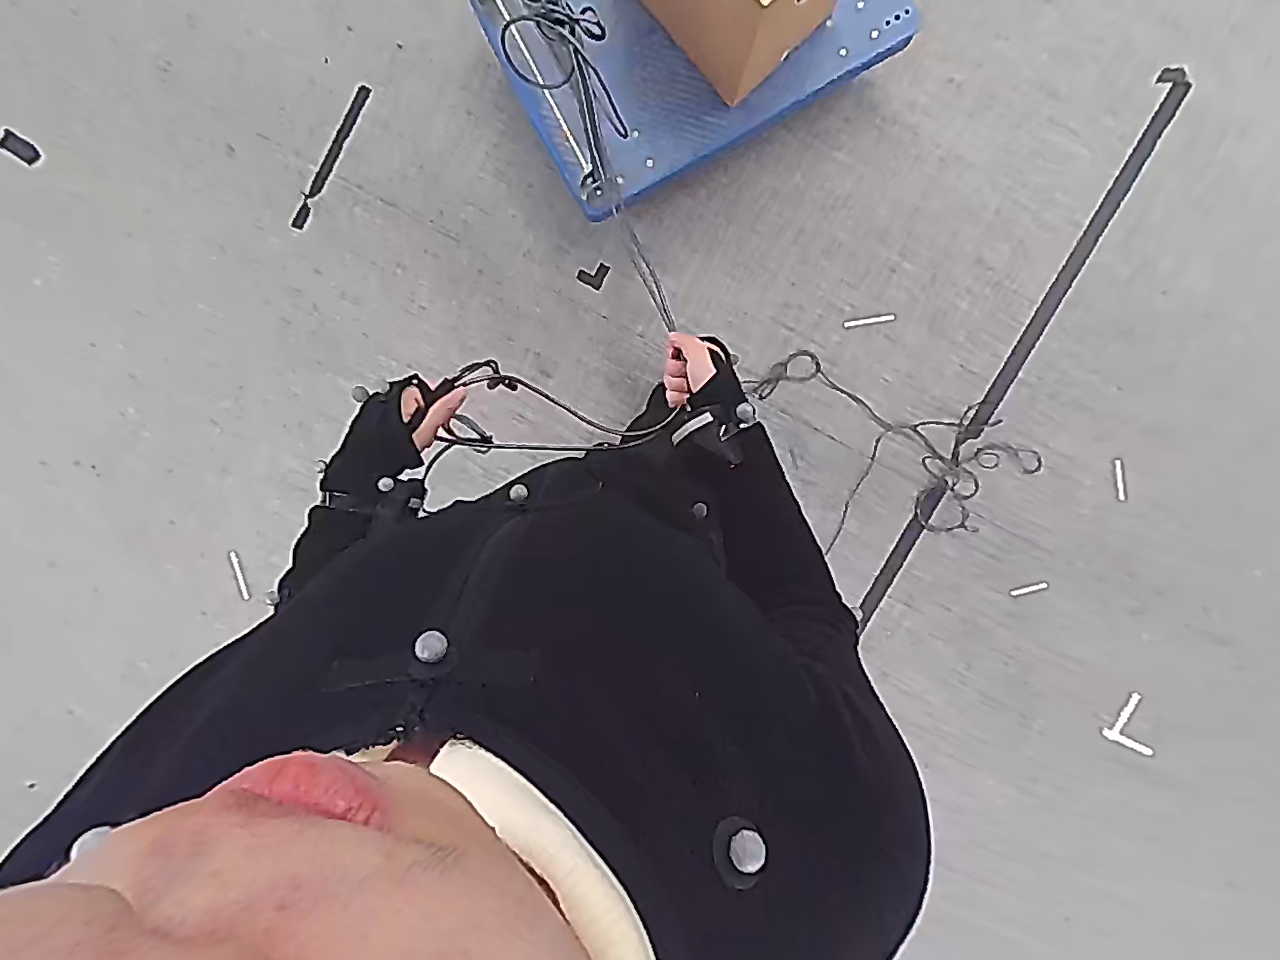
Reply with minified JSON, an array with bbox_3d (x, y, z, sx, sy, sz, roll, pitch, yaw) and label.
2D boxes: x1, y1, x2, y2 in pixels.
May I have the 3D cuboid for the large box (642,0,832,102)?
[{"bbox_3d":[0.184,-1.075,1.045,0.320,0.320,0.408,-43,97,4],"label":"large box"}]
